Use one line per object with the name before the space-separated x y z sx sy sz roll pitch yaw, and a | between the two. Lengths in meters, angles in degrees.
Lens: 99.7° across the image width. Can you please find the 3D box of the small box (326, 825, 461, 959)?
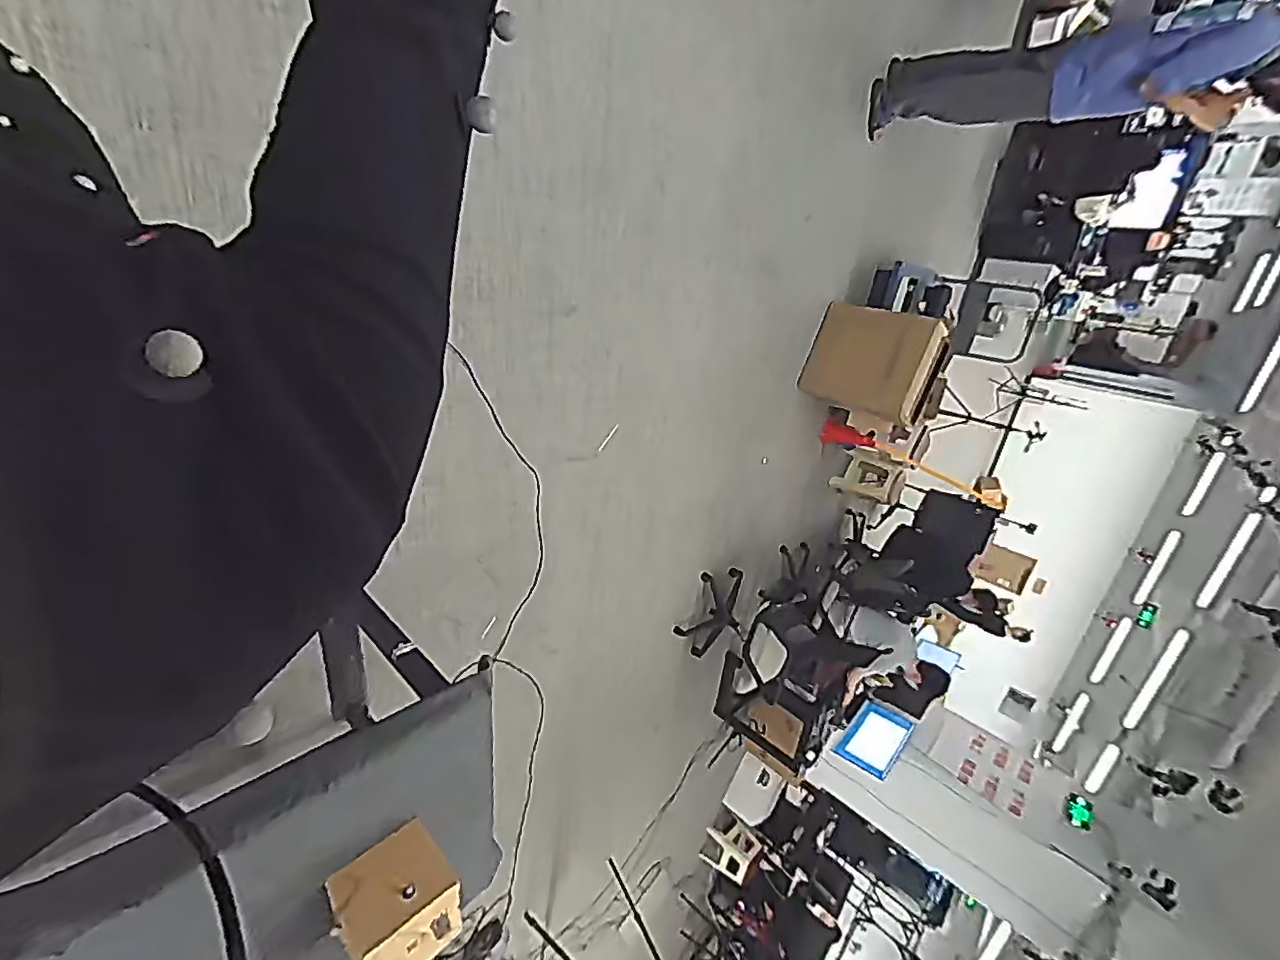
small box | -0.462 0.809 1.023 0.179 0.176 0.168 -19 124 -43
